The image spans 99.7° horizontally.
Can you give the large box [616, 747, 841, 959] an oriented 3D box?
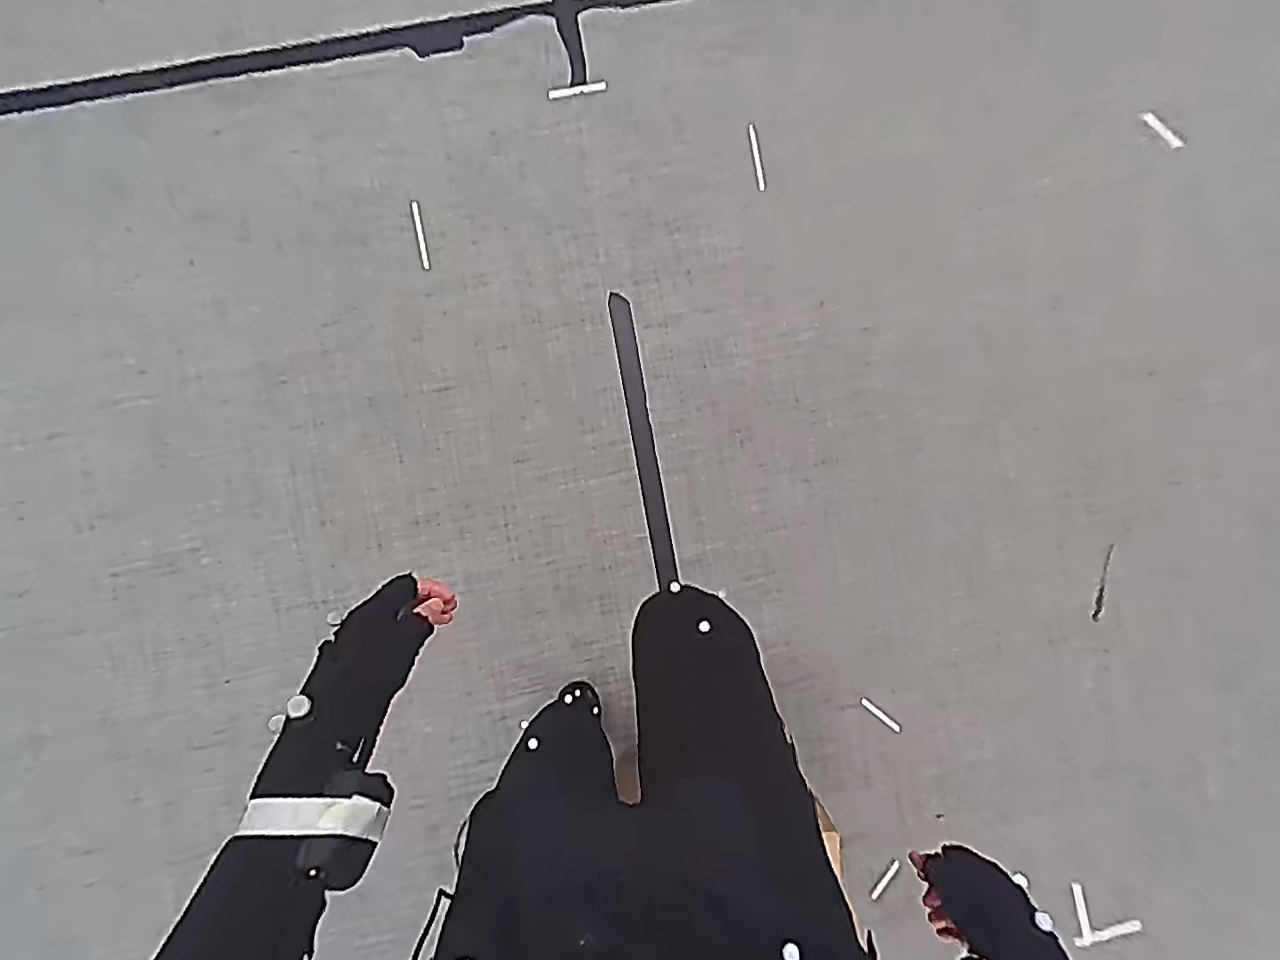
[{"bbox_3d":[0.162,0.804,1.137,0.408,0.320,0.320,-3,90,-4],"label":"large box"}]
